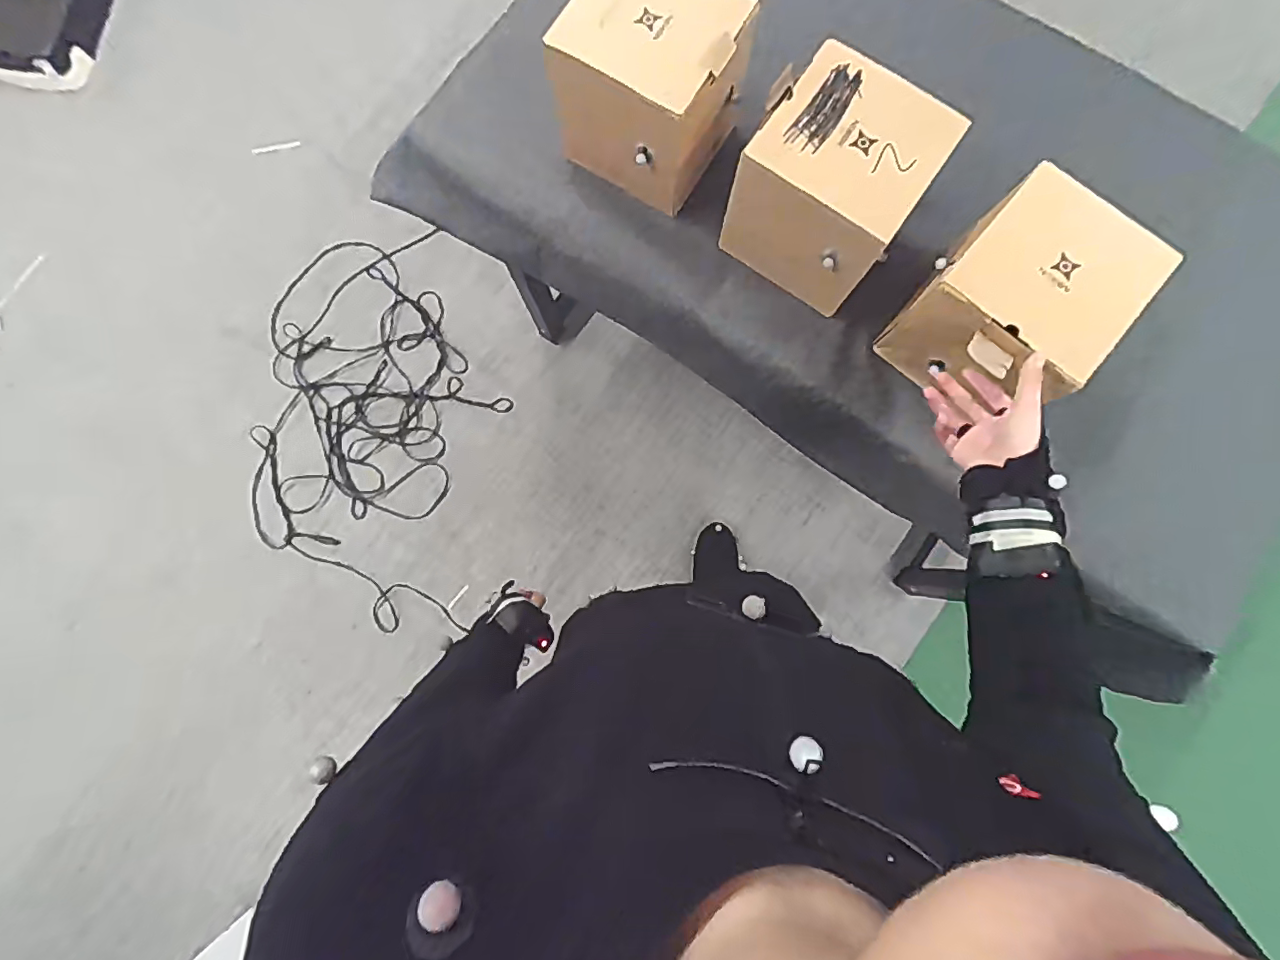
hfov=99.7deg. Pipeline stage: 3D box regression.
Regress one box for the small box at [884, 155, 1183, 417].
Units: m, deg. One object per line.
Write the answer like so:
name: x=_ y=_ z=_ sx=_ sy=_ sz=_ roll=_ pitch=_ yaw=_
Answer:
small box: x=0.411 y=-0.198 z=0.600 sx=0.168 sy=0.176 sz=0.179 roll=40 pitch=85 yaw=5

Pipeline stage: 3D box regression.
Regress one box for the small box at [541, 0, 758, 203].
small box: x=0.012 y=-0.470 z=0.643 sx=0.179 sy=0.176 sz=0.168 roll=31 pitch=82 yaw=5
